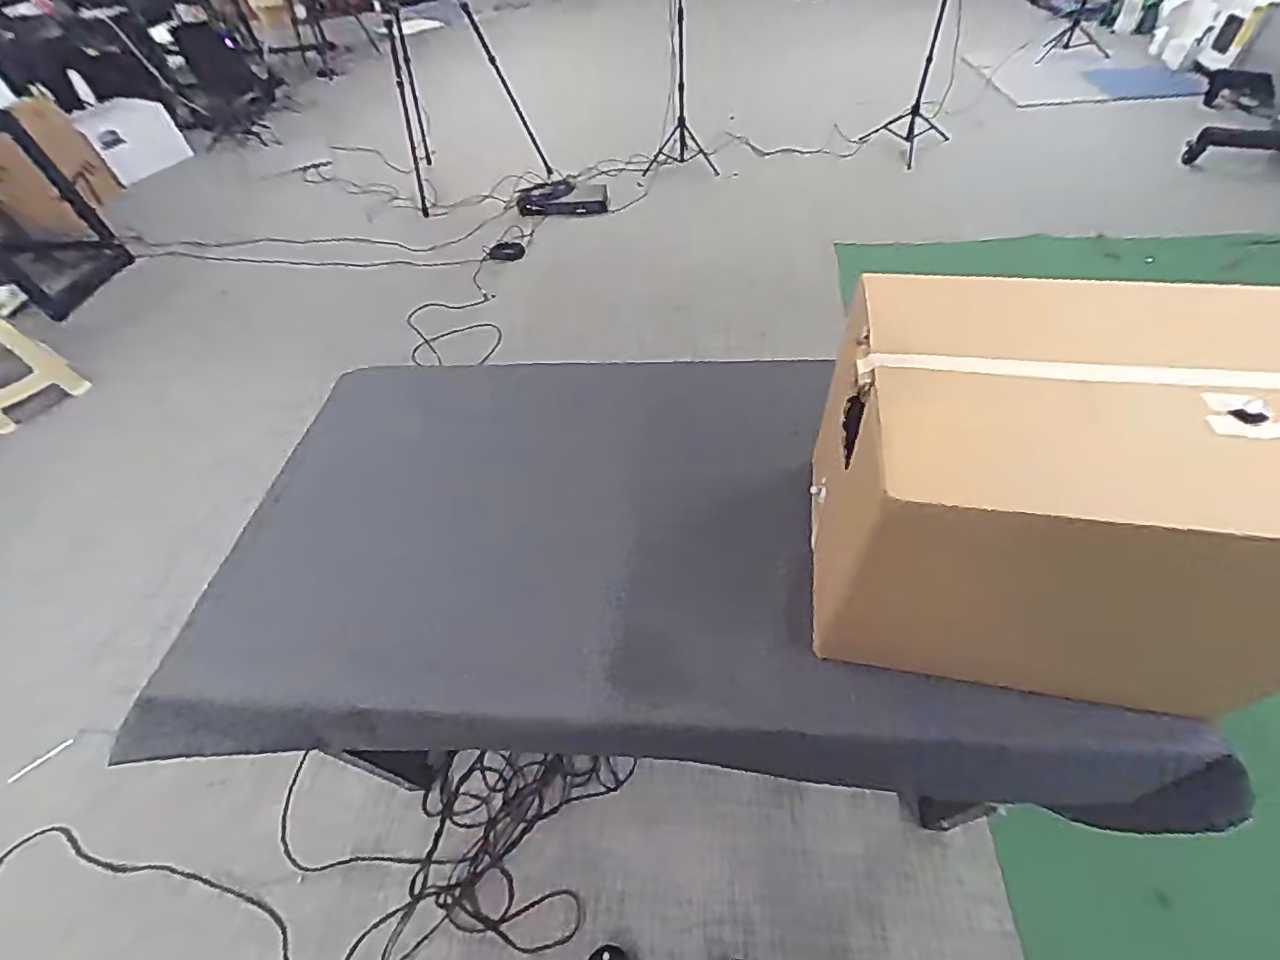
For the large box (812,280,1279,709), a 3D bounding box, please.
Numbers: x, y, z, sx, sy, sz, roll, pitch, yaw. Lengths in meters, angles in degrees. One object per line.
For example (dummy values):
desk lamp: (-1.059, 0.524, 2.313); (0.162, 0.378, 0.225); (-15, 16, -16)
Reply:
large box: (0.419, 0.013, 0.576); (0.408, 0.320, 0.320); (7, 52, 10)
